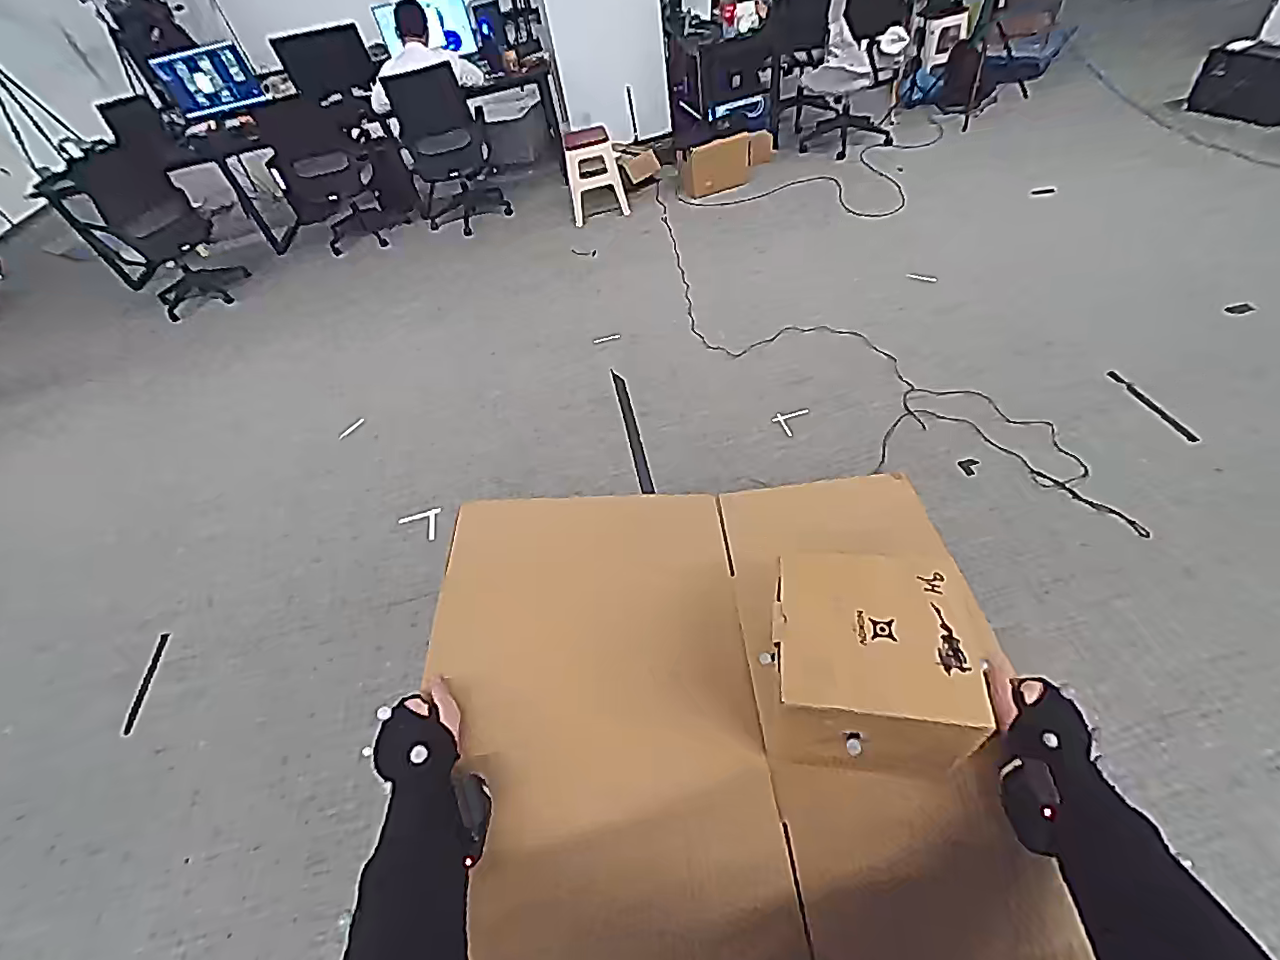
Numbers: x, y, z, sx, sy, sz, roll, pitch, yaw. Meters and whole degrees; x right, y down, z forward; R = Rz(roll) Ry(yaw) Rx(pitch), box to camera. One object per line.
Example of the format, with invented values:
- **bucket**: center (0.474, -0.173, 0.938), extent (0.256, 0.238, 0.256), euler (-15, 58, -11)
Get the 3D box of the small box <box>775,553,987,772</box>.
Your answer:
- **small box**: center (0.236, 0.196, 0.582), extent (0.179, 0.176, 0.168), euler (1, 48, 13)
